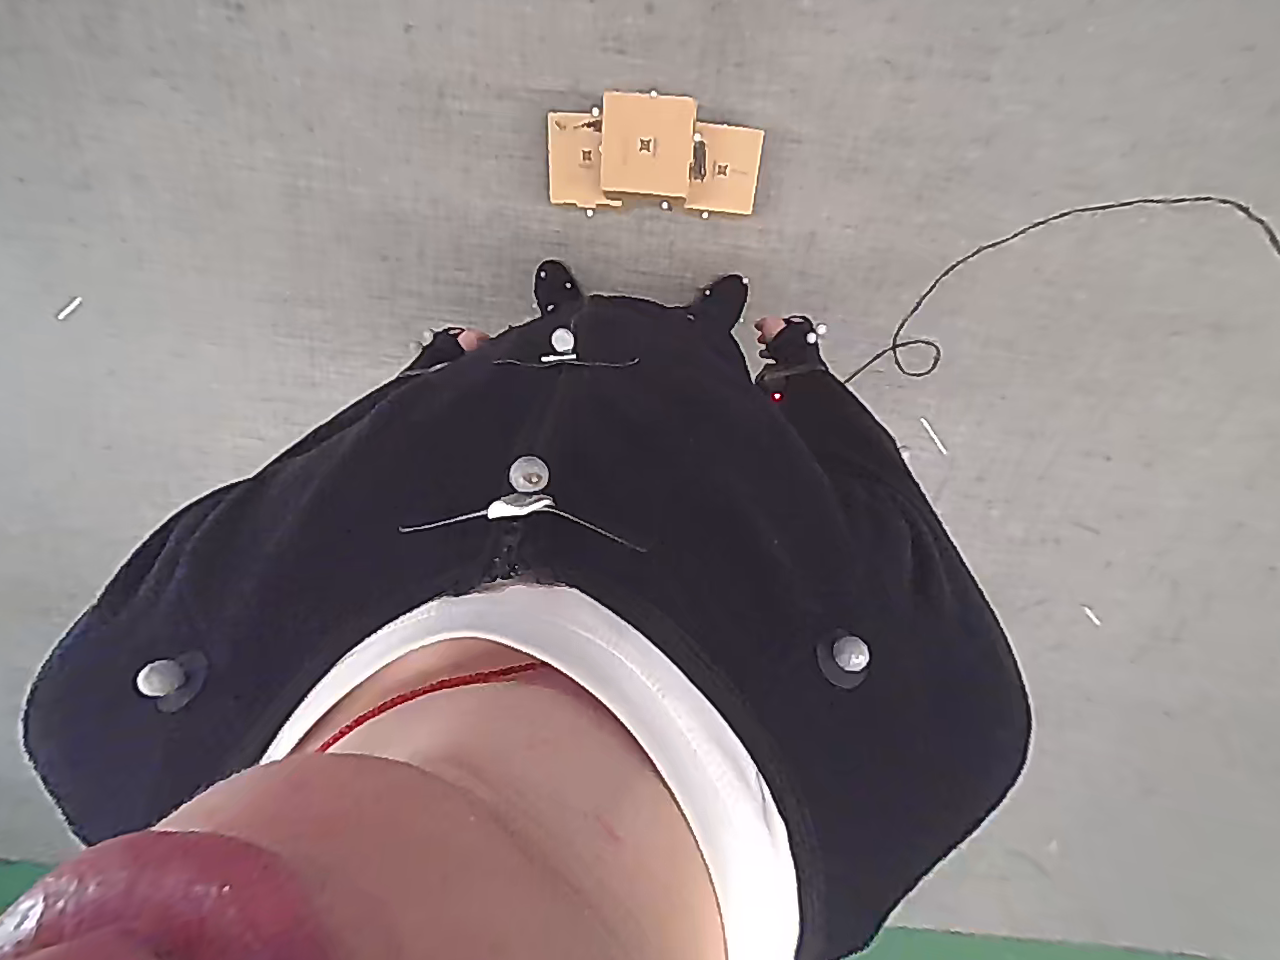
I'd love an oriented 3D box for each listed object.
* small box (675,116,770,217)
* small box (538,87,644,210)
[{"bbox_3d":[0.182,-0.712,1.249,0.179,0.176,0.168,10,114,-1],"label":"small box"},{"bbox_3d":[-0.104,-0.746,1.241,0.179,0.176,0.168,-24,107,13],"label":"small box"}]
